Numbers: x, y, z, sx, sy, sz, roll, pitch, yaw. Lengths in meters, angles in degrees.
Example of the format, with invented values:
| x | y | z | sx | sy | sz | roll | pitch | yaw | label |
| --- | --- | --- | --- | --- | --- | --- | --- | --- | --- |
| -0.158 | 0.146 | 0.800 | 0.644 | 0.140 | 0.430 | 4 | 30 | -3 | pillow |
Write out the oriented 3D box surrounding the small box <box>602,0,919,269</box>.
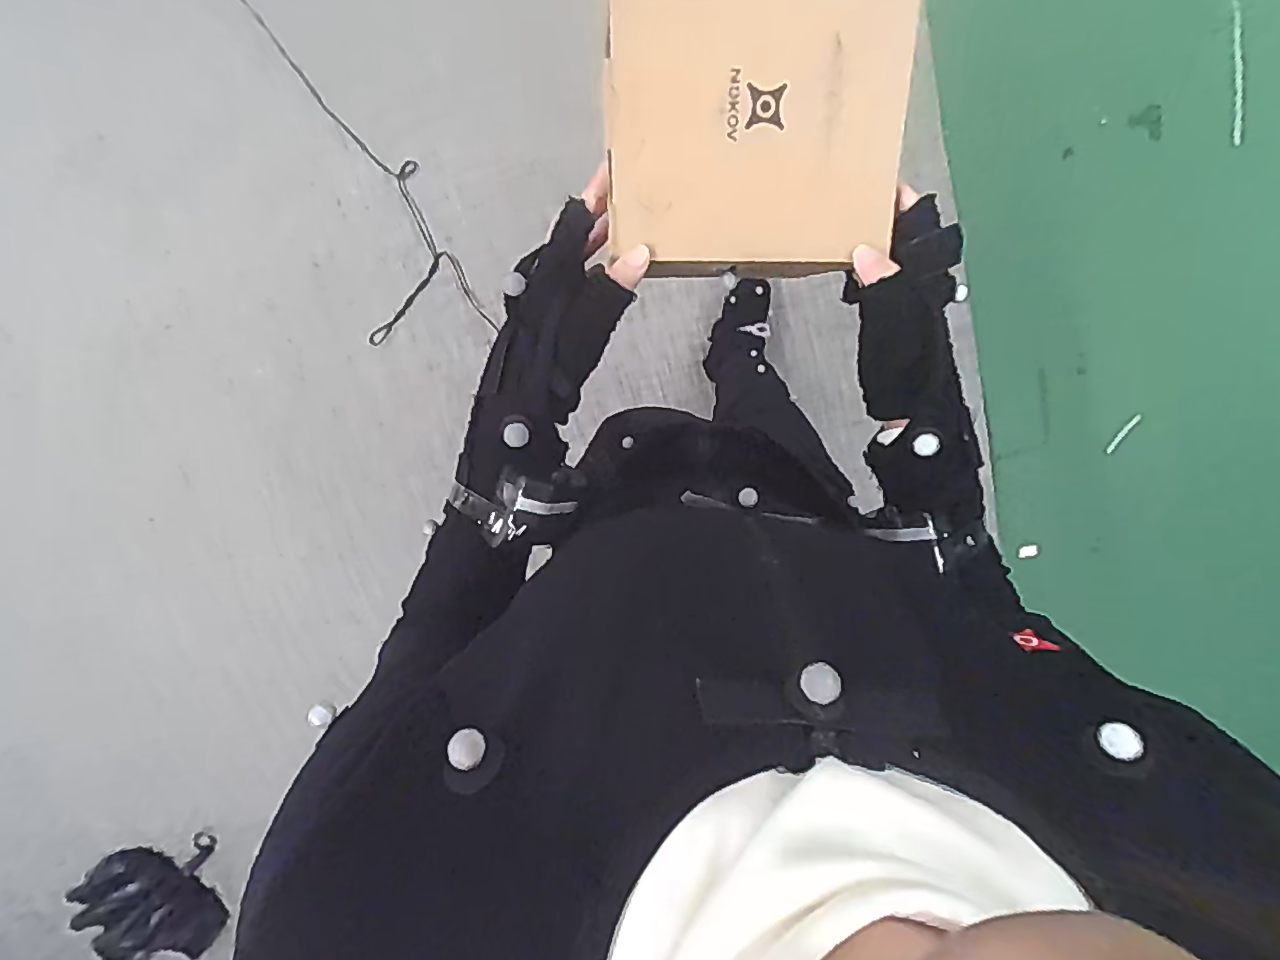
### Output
| x | y | z | sx | sy | sz | roll | pitch | yaw | label |
| --- | --- | --- | --- | --- | --- | --- | --- | --- | --- |
| 0.065 | -0.244 | 0.384 | 0.179 | 0.176 | 0.168 | -3 | 109 | -3 | small box |
